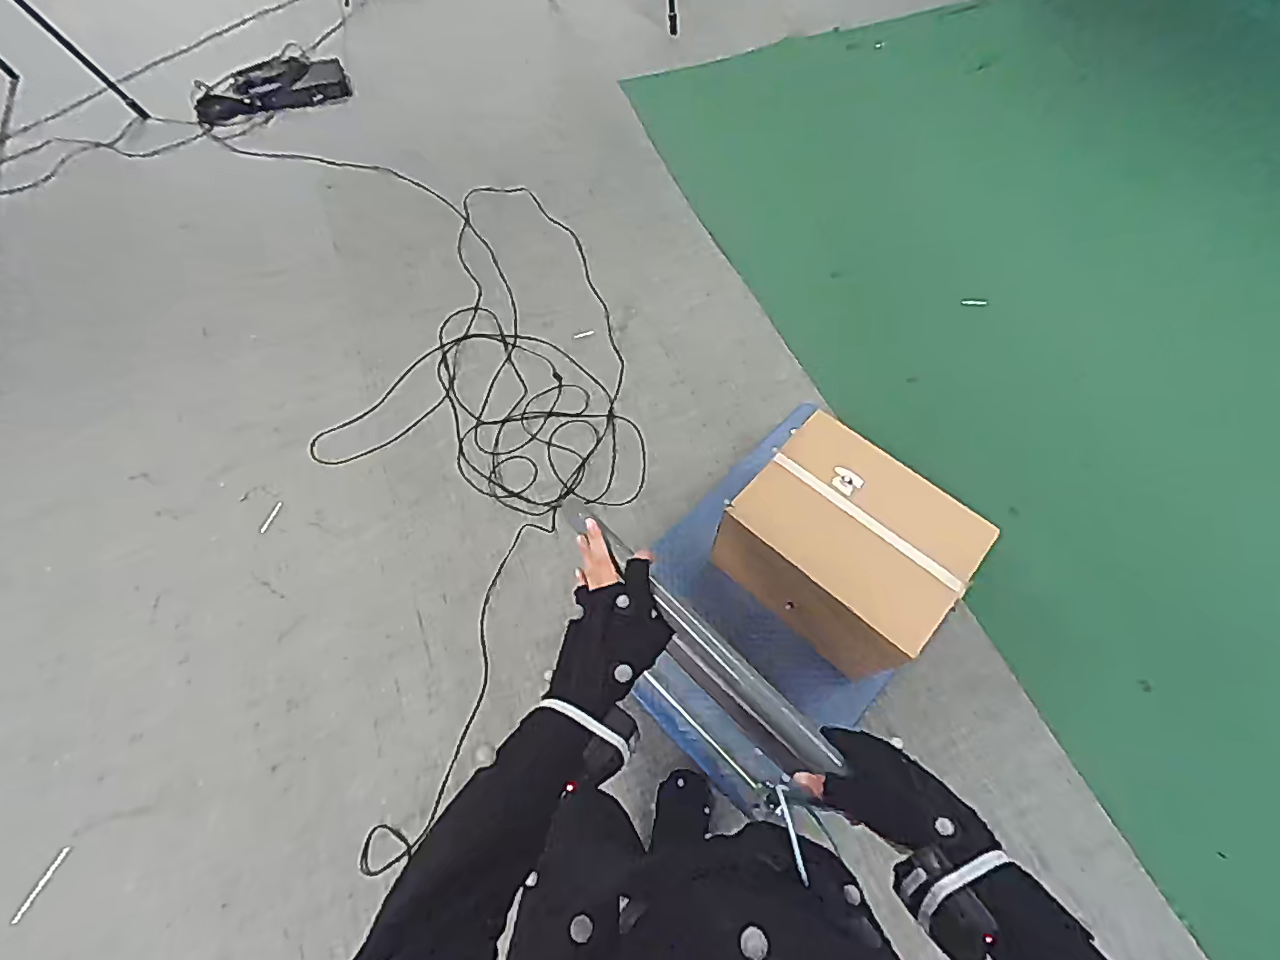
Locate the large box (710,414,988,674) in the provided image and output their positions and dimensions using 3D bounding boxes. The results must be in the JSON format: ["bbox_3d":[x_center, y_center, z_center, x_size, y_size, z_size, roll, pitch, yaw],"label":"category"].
[{"bbox_3d":[0.407,0.144,1.150,0.408,0.320,0.320,39,69,19],"label":"large box"}]
